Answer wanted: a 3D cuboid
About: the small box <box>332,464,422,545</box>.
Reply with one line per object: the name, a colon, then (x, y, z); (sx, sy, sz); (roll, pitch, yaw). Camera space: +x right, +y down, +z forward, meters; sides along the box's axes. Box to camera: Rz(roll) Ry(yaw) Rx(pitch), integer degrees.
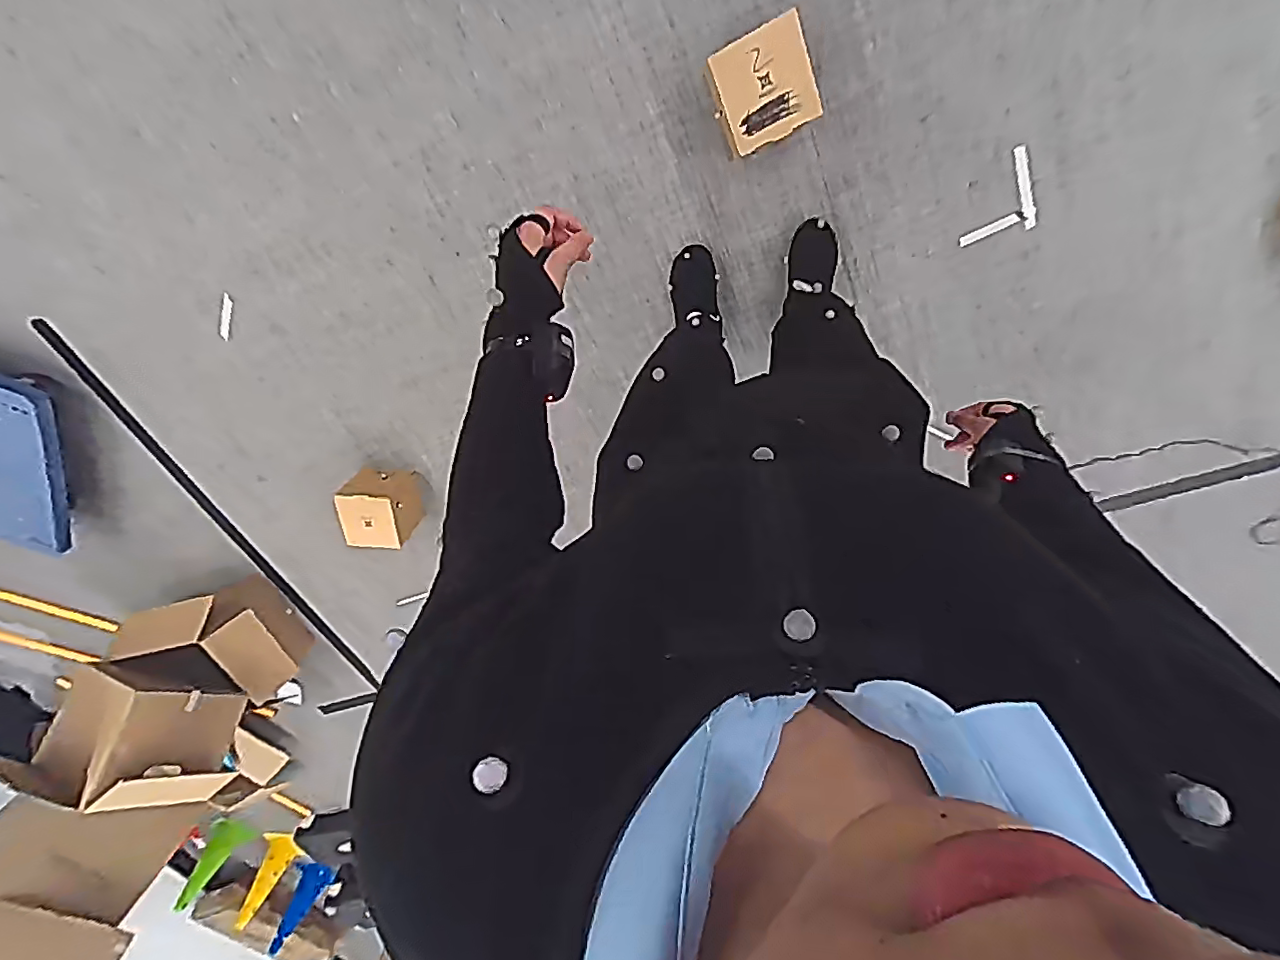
small box: (-0.774, 0.072, 1.614); (0.168, 0.176, 0.179); (3, 119, 3)
